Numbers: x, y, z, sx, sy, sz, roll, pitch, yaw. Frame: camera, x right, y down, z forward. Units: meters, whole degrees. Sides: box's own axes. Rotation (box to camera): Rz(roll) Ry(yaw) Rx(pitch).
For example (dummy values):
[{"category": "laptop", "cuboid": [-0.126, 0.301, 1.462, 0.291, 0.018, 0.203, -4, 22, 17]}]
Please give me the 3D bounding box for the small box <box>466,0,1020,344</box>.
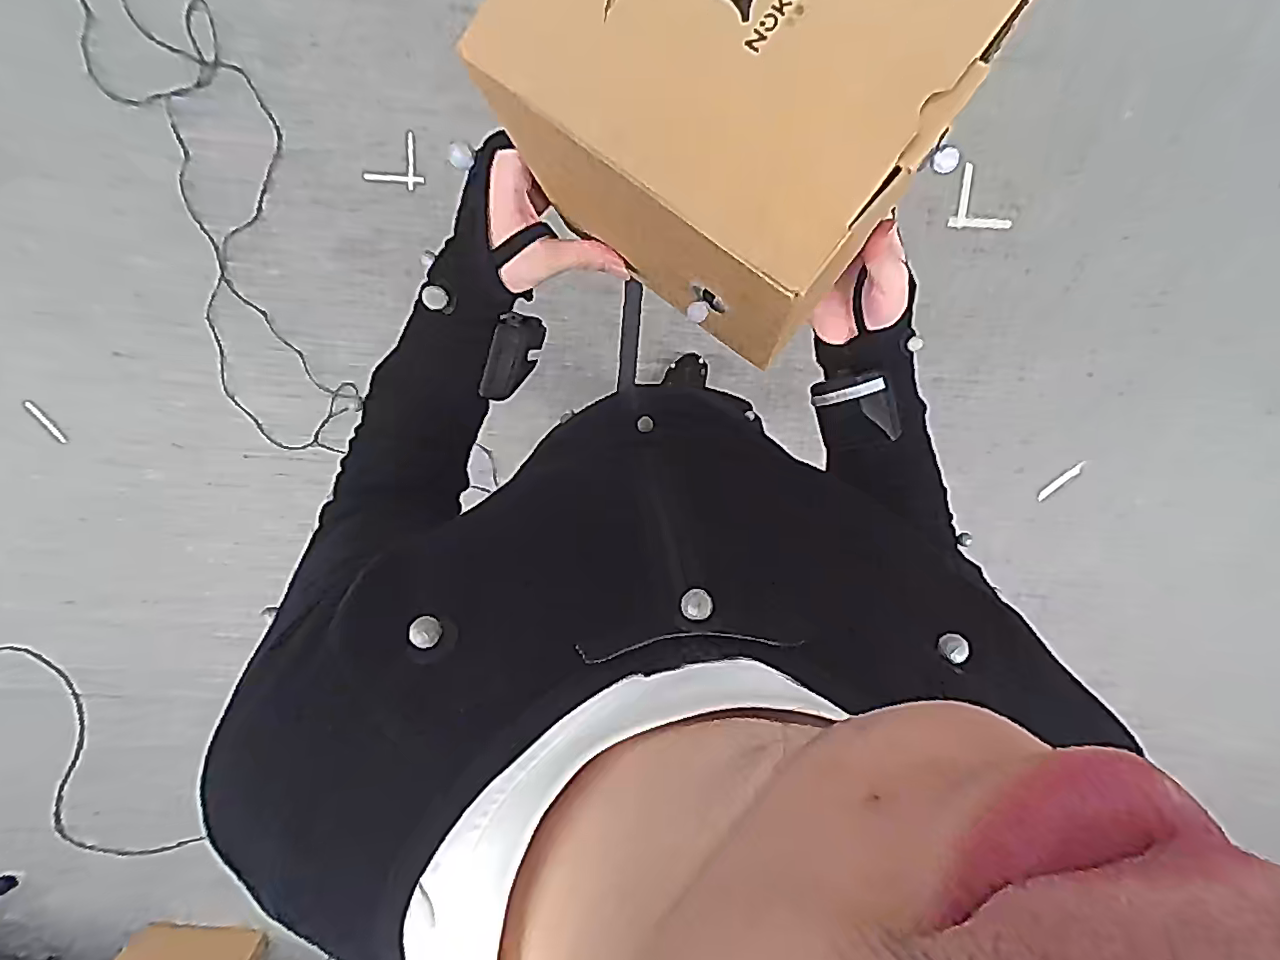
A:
[{"category": "small box", "cuboid": [0.051, -0.193, 0.294, 0.179, 0.176, 0.168, 37, 96, 6]}]
